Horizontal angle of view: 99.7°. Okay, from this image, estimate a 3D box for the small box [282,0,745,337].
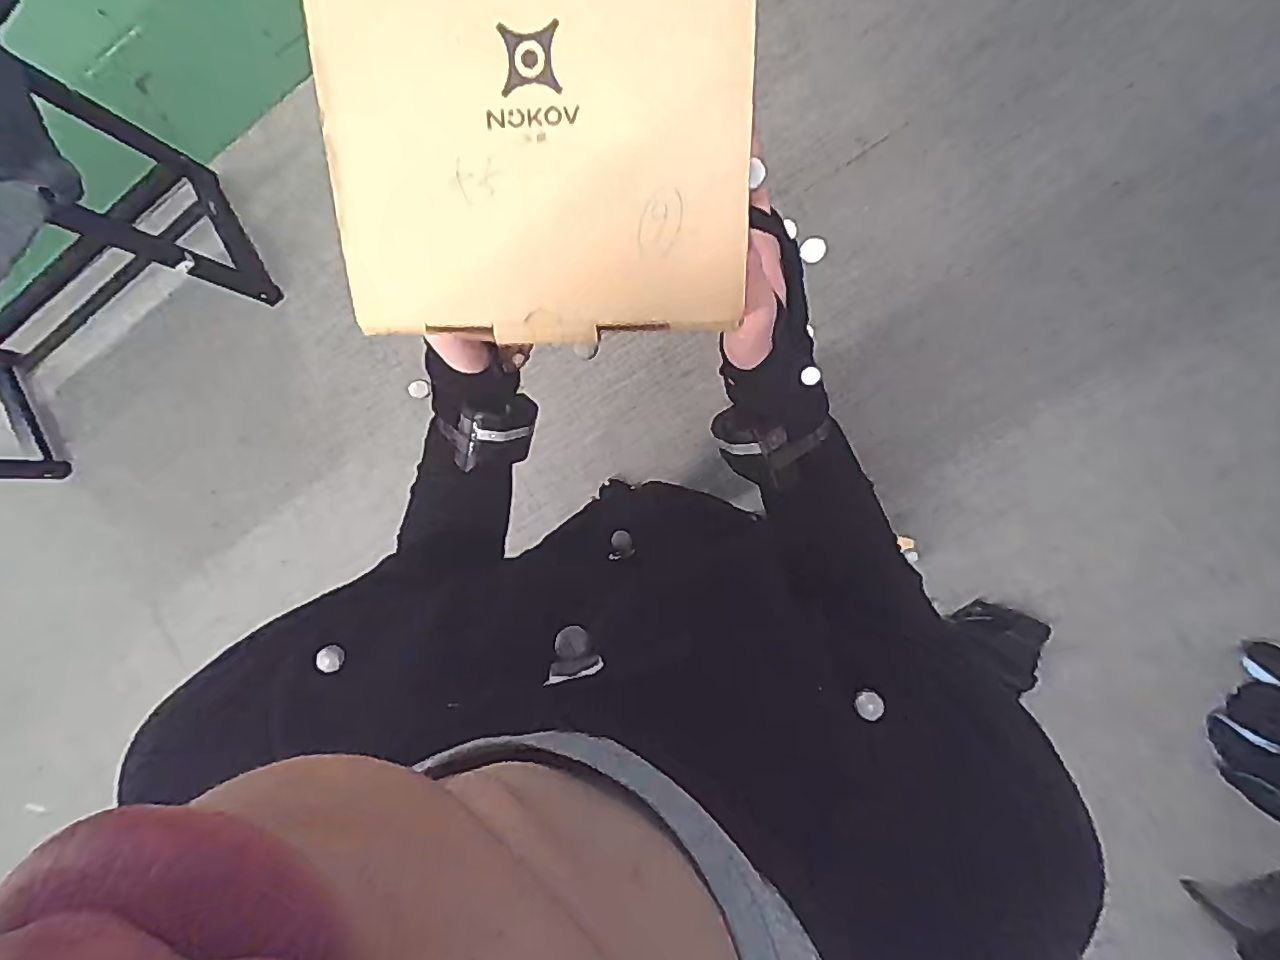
[{"bbox_3d":[-0.039,-0.167,0.270,0.168,0.176,0.179,0,107,4],"label":"small box"}]
